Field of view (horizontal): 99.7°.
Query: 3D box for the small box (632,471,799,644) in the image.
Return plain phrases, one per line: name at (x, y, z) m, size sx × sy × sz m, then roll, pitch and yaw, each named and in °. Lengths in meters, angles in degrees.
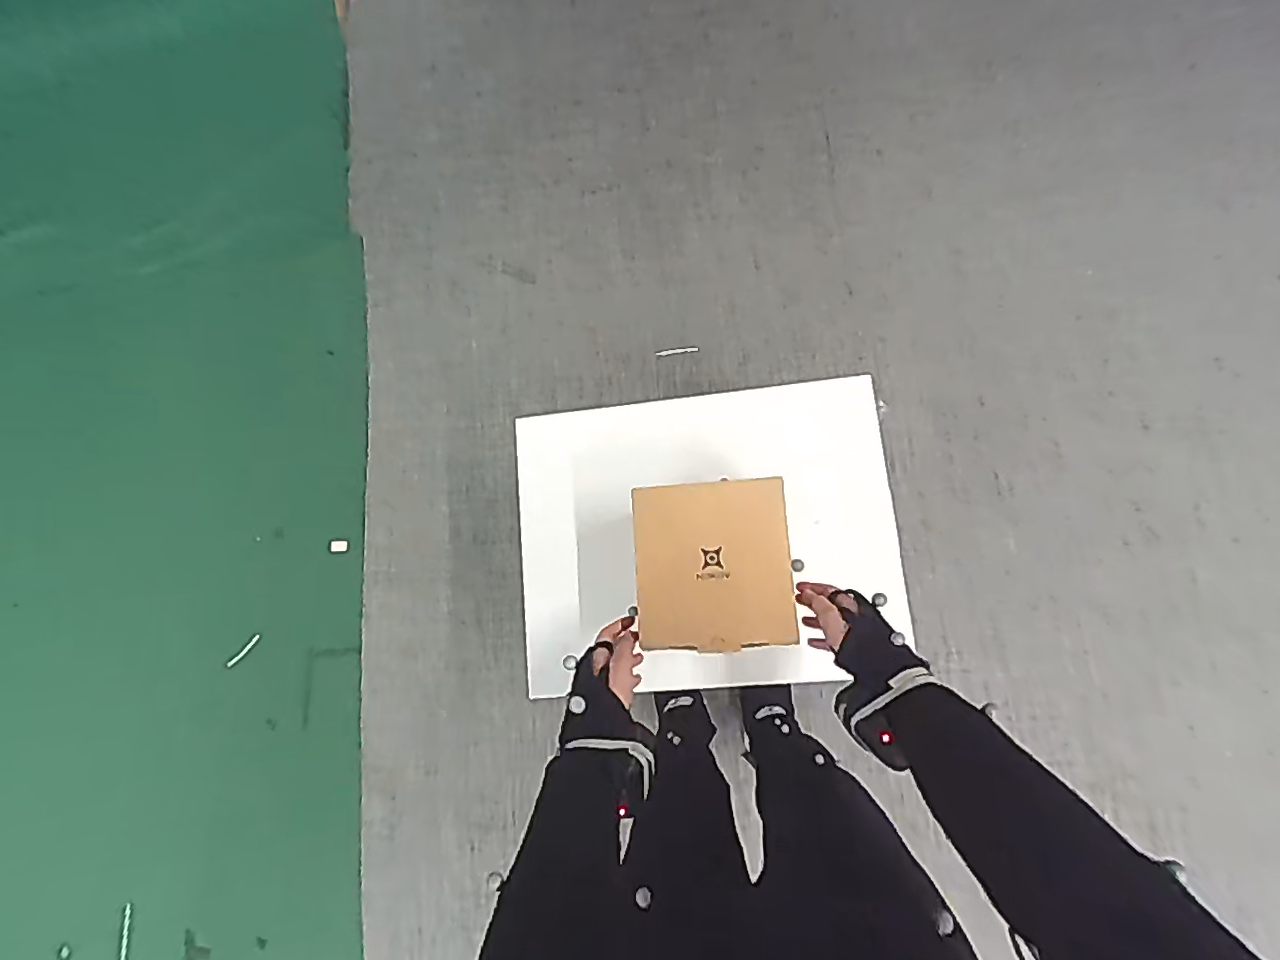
small box at (0.085, 0.095, 0.641) m, size 0.168 × 0.176 × 0.179 m, roll -5°, pitch 79°, yaw 7°
